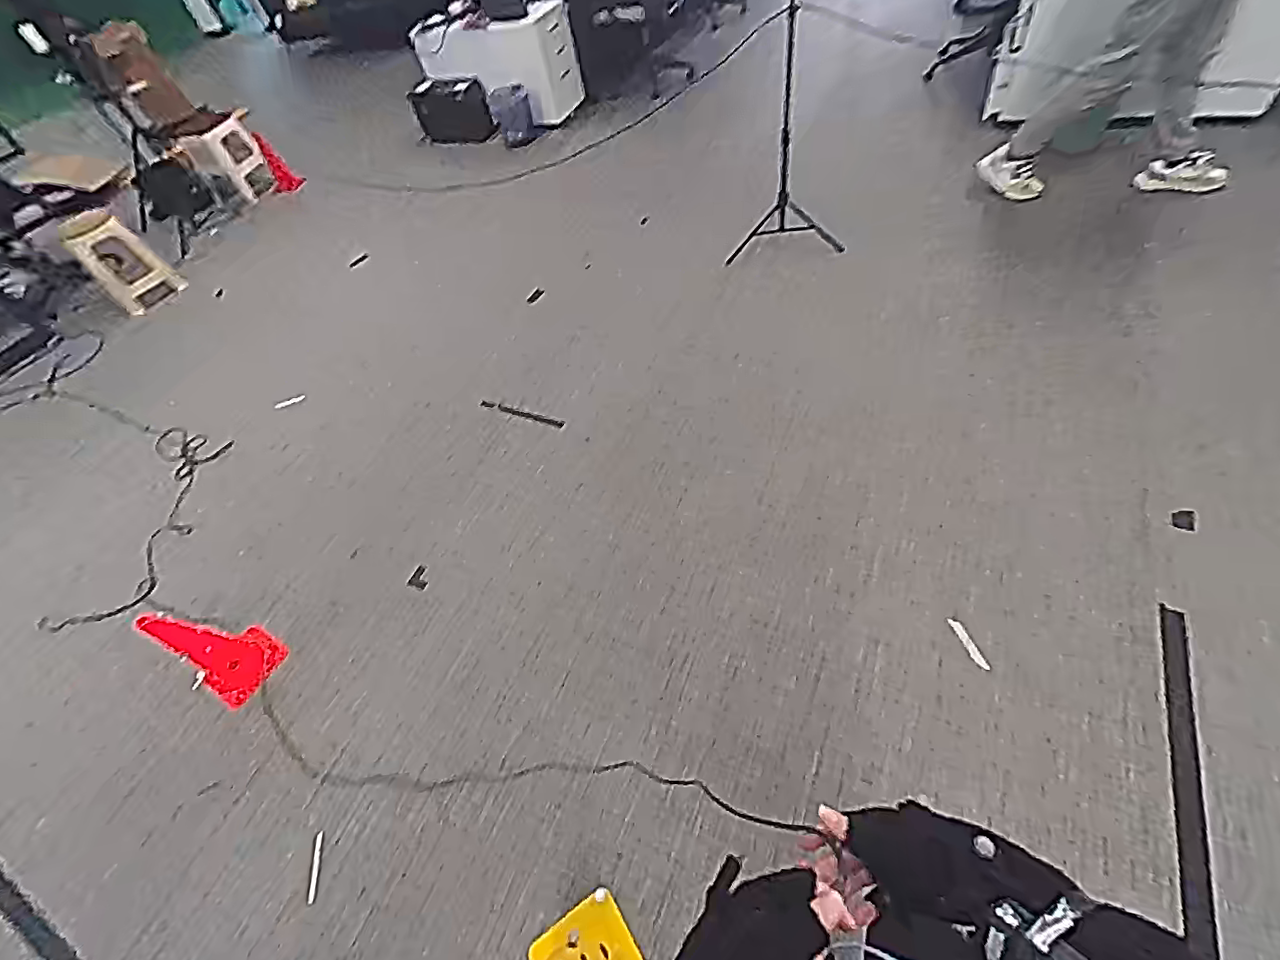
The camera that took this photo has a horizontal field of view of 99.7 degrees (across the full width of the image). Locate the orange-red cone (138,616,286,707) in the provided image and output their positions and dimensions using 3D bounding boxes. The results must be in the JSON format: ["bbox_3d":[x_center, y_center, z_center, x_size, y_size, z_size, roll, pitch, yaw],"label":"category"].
[{"bbox_3d":[-1.226,0.464,1.510,0.199,0.360,0.198,23,62,25],"label":"orange-red cone"}]
